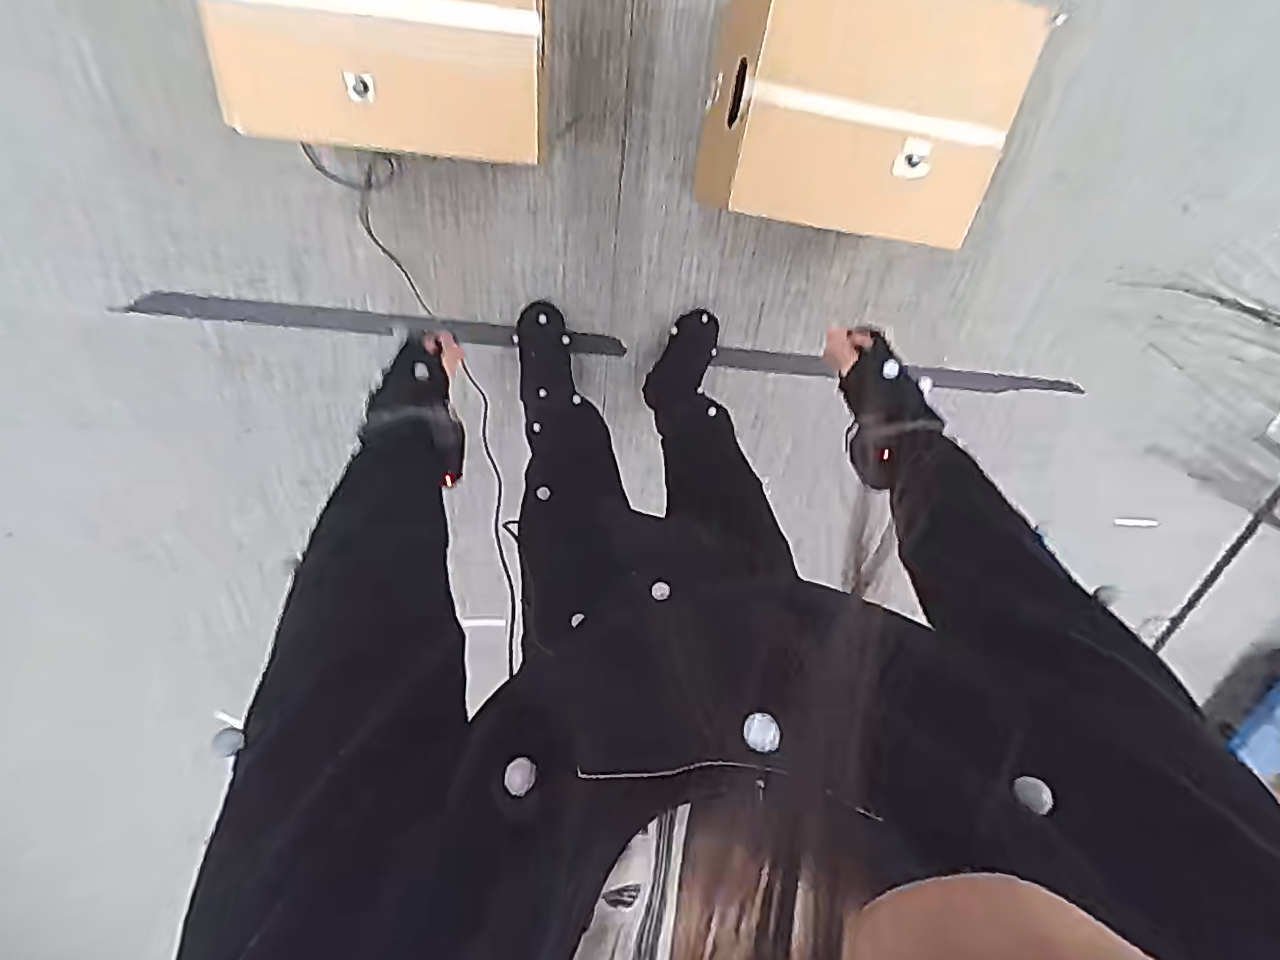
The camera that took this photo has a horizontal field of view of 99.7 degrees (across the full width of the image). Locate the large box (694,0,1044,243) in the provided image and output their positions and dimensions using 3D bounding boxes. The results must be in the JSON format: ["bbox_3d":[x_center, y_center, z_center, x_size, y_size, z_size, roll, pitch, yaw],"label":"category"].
[{"bbox_3d":[0.337,-0.613,0.928,0.408,0.320,0.320,5,119,-10],"label":"large box"}]
